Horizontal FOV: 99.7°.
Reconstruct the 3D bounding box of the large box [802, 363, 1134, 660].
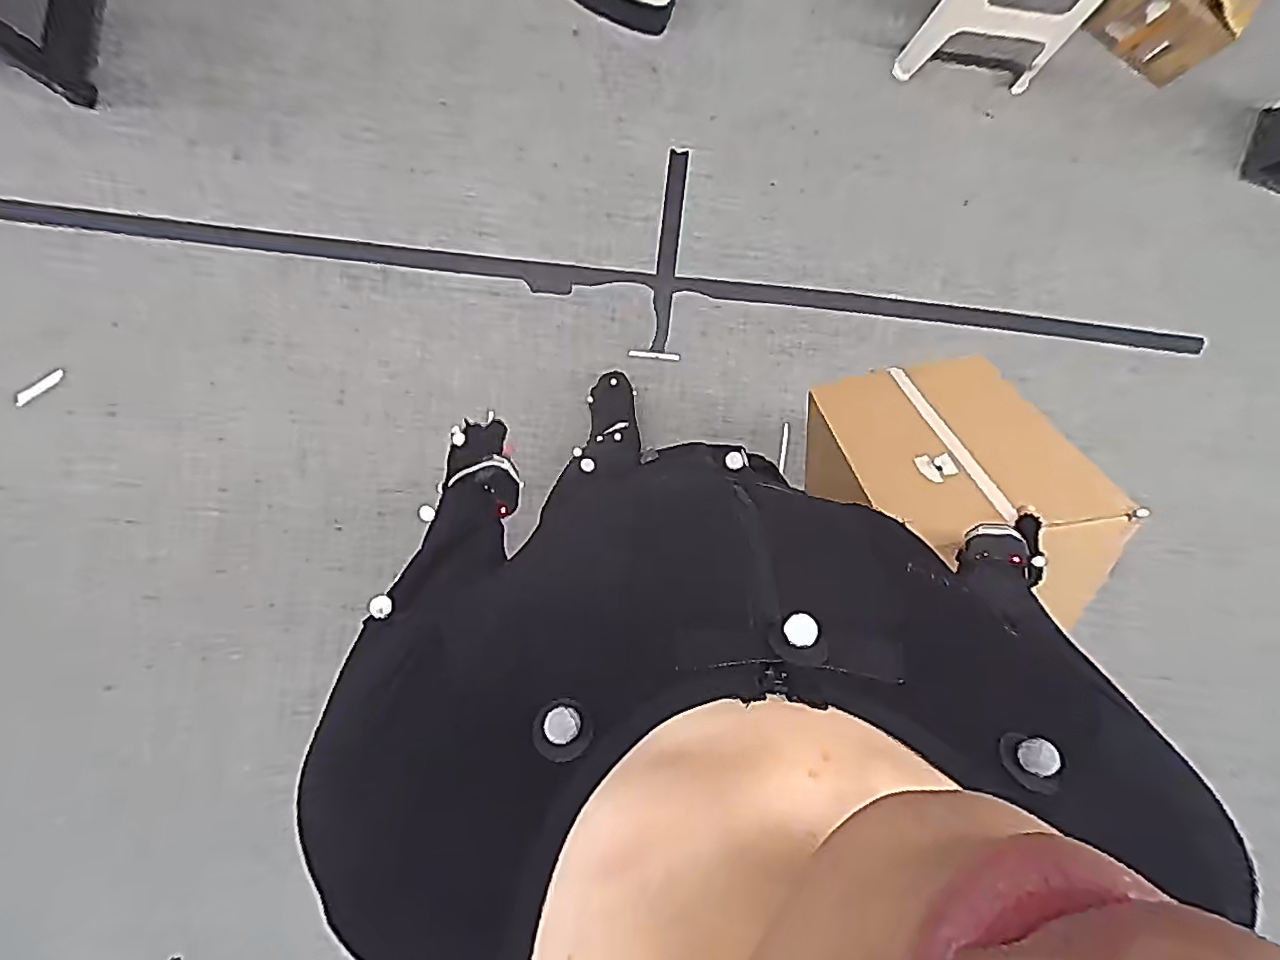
[{"bbox_3d":[0.508,0.048,0.963,0.320,0.408,0.320,-11,133,3],"label":"large box"}]
